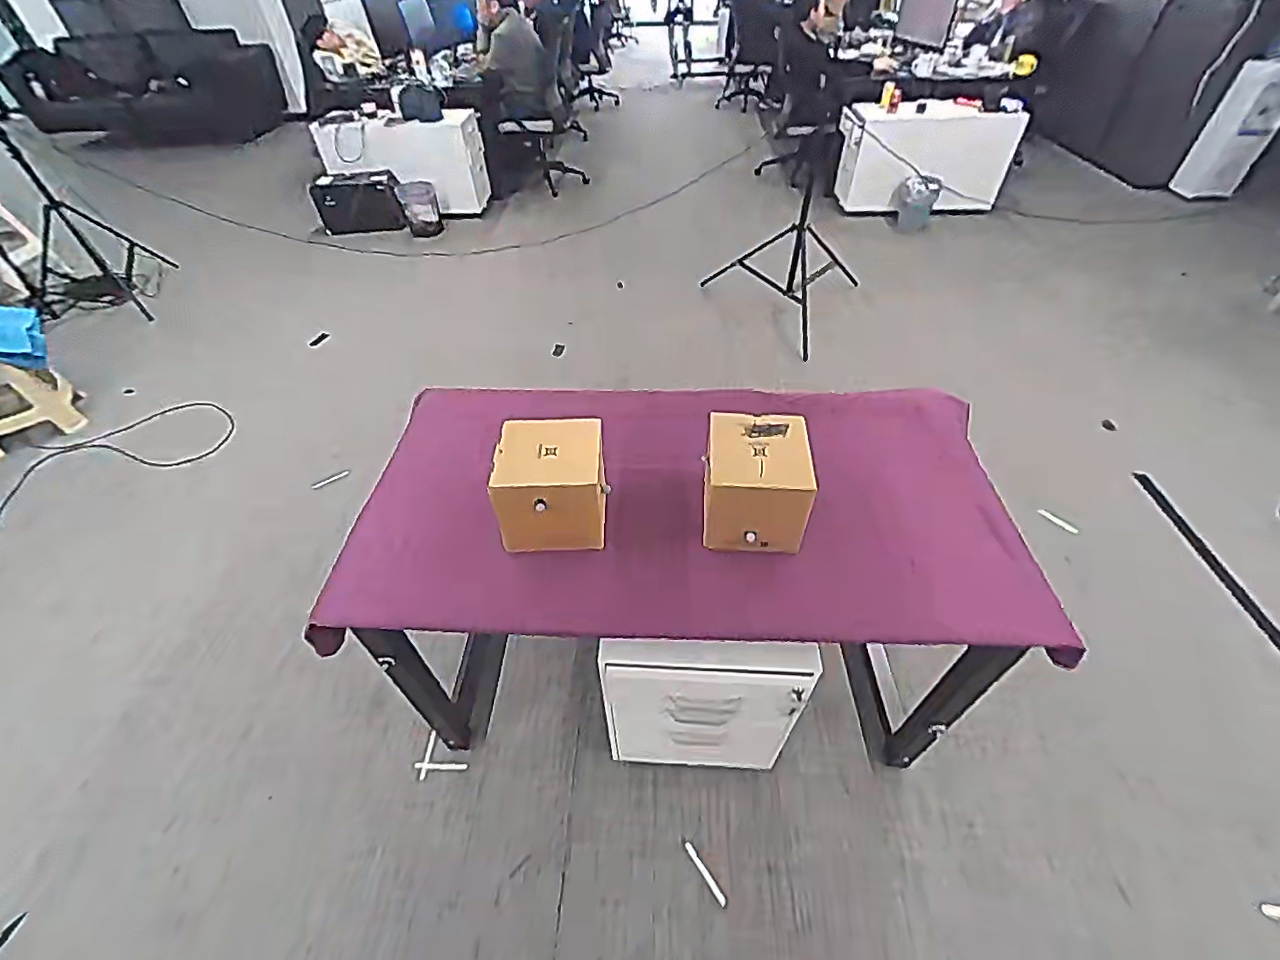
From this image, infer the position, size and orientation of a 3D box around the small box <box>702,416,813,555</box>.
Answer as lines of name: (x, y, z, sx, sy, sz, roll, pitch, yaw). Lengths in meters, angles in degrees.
small box: (0.197, 0.009, 0.958, 0.168, 0.176, 0.179, 3, 47, 5)

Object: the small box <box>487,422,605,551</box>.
small box: (-0.154, 0.013, 0.964, 0.179, 0.176, 0.168, -2, 45, 0)
